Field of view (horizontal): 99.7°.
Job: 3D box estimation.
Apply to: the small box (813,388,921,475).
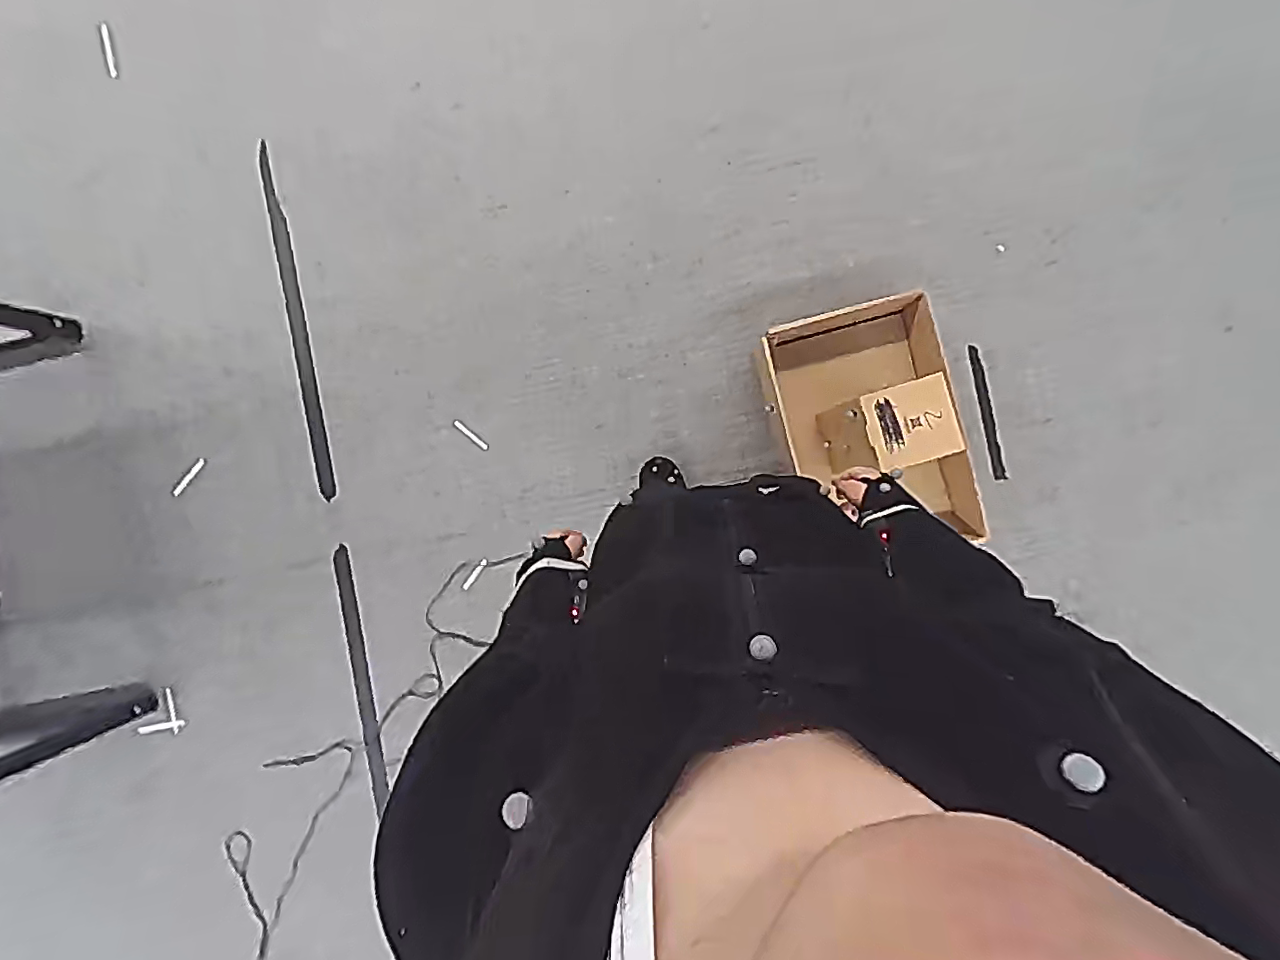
[{"bbox_3d":[0.553,-0.116,1.336,0.179,0.176,0.168,-16,90,4],"label":"small box"}]
